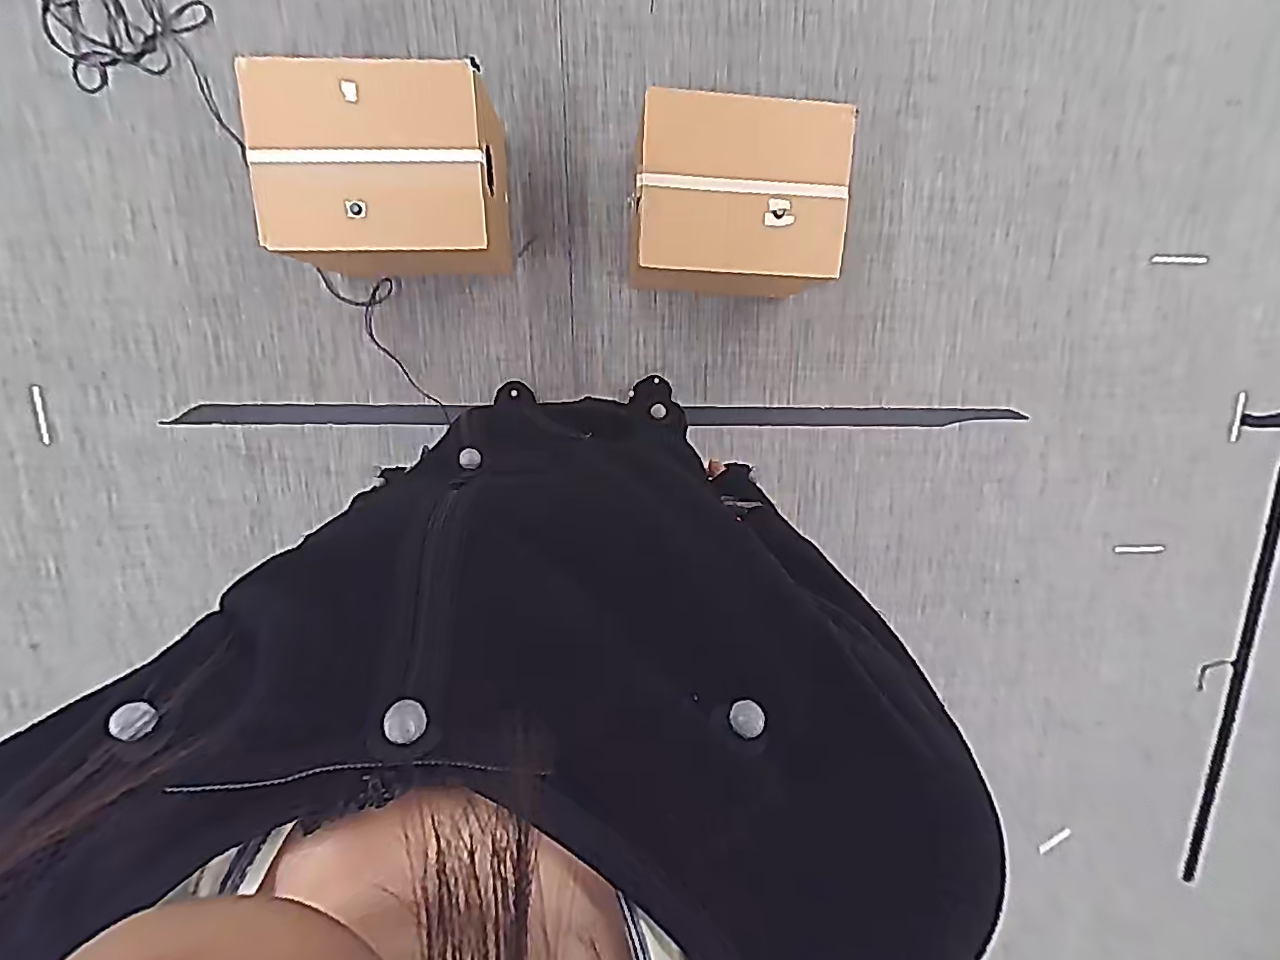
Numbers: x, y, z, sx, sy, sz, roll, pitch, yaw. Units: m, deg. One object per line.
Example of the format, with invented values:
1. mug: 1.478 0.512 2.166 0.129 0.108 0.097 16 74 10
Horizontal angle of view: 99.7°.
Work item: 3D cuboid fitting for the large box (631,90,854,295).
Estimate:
1. large box: 0.191 -0.594 1.185 0.408 0.320 0.320 2 102 -6
